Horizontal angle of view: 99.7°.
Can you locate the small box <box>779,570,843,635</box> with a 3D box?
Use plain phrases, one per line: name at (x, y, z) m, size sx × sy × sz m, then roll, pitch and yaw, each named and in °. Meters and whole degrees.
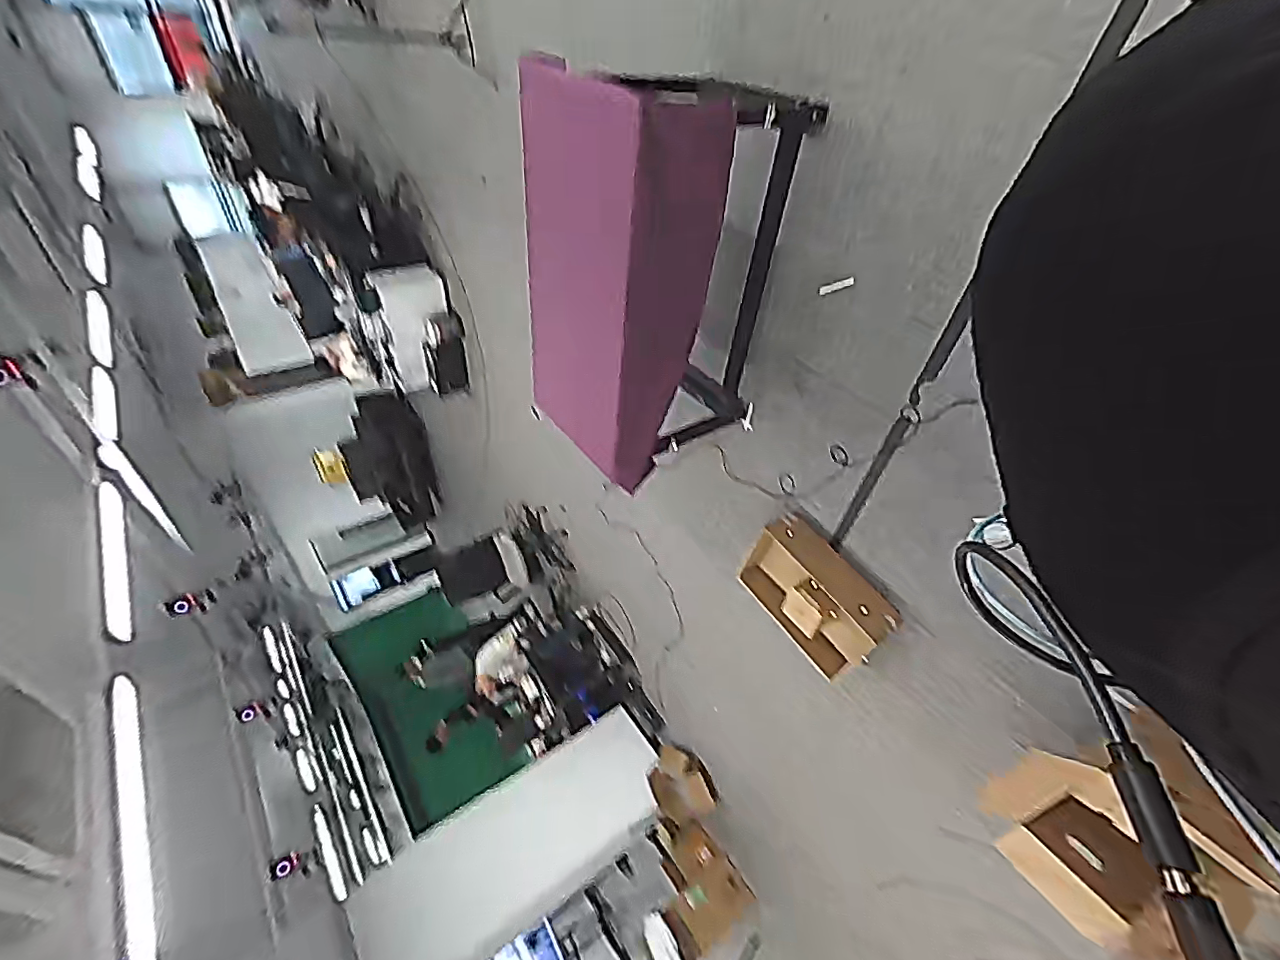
small box at (0.717, 0.506, 2.263) m, size 0.168 × 0.176 × 0.179 m, roll 47°, pitch 145°, yaw 33°
